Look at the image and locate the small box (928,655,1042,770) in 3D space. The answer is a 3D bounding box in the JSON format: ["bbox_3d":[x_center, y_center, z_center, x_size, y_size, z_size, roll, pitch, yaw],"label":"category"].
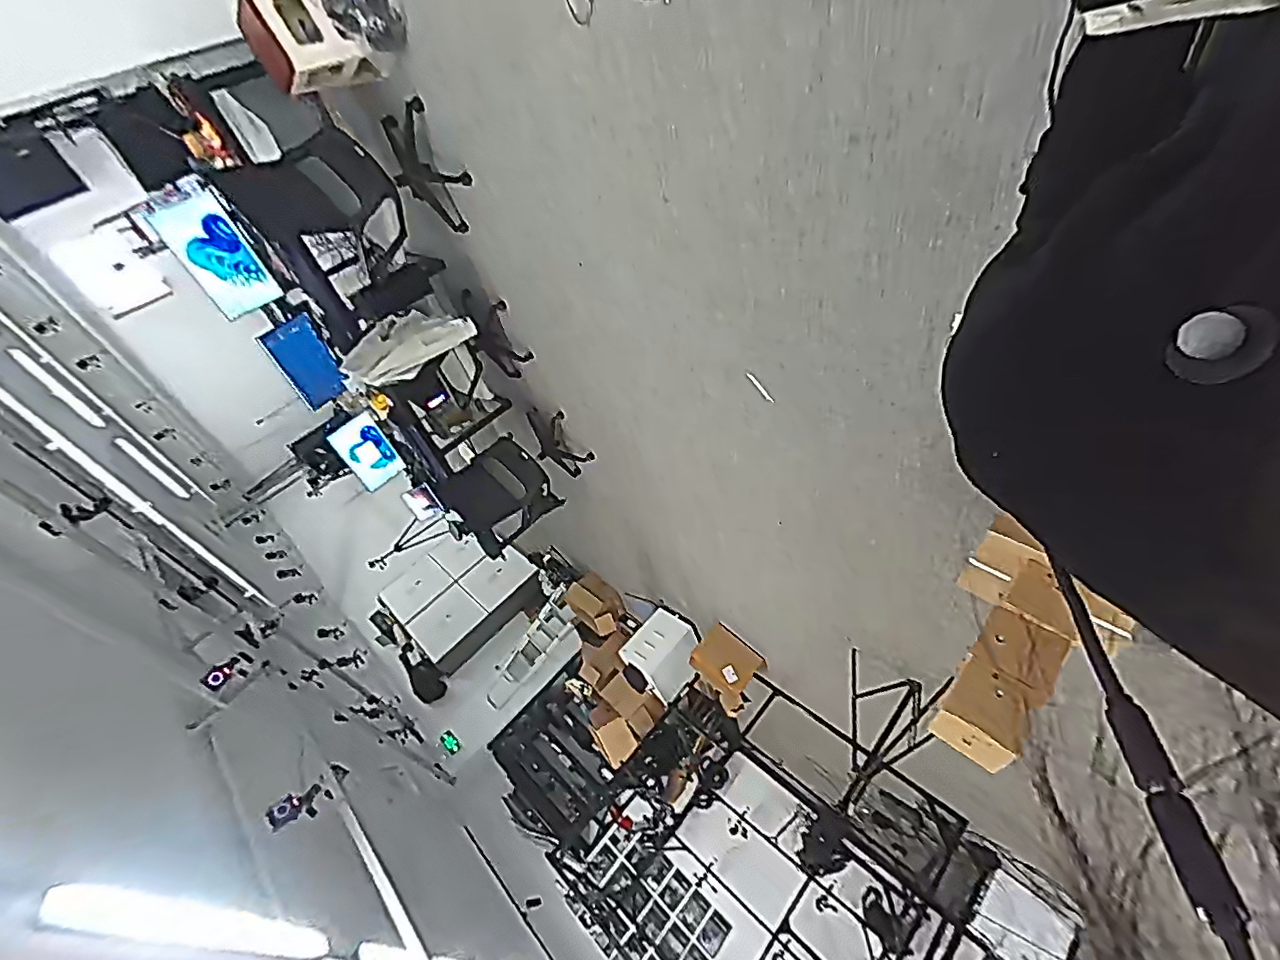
[{"bbox_3d":[0.843,0.566,1.325,0.168,0.176,0.179,31,152,32],"label":"small box"}]

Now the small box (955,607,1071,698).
[{"bbox_3d":[0.949,0.452,1.382,0.179,0.176,0.168,29,152,34],"label":"small box"}]
